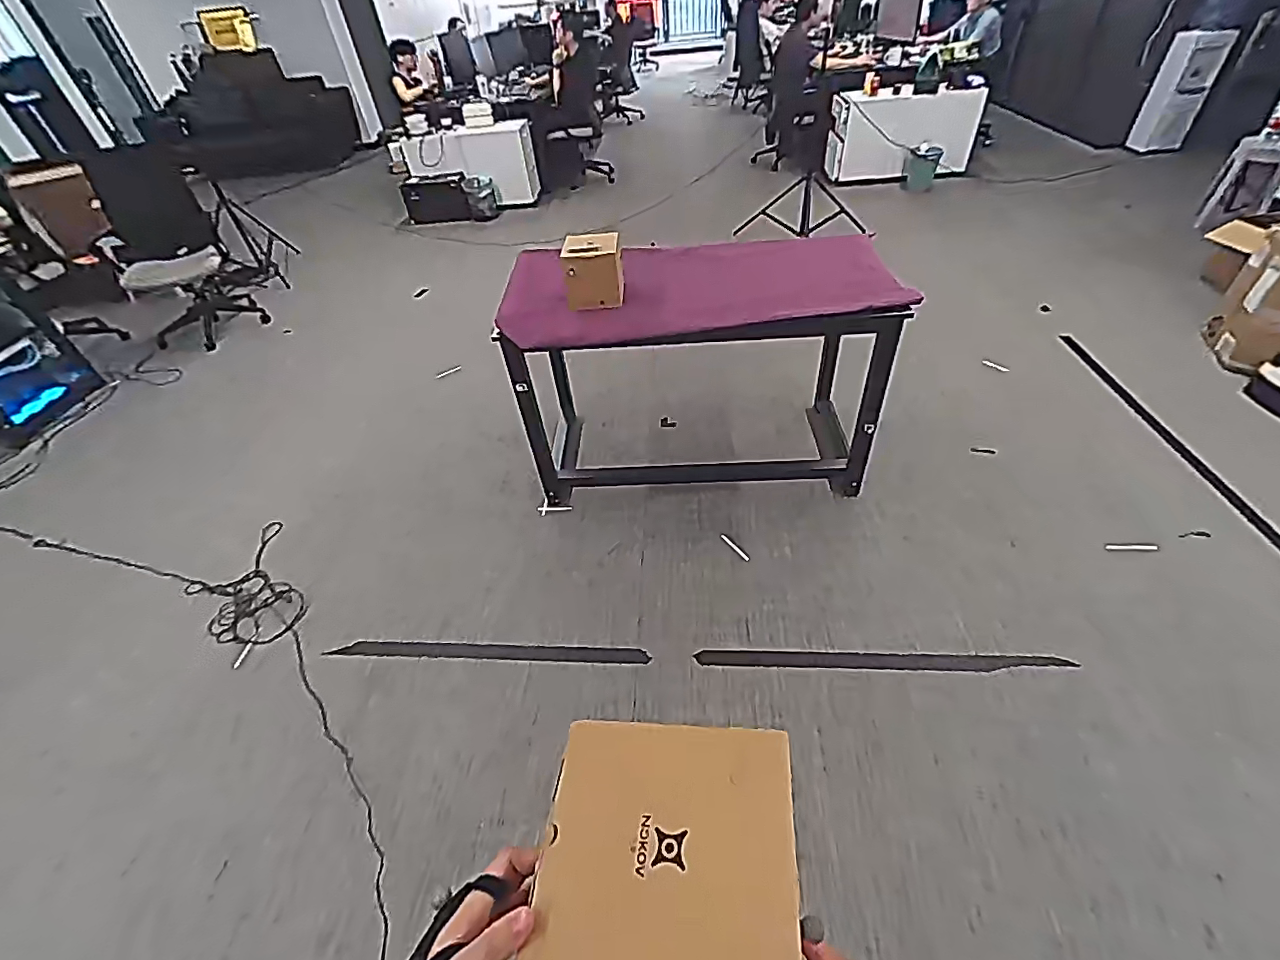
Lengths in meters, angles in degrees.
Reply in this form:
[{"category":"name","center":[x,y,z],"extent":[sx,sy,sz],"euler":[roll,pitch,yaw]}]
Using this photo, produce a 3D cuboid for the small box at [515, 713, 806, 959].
[{"category":"small box","center":[0.033,0.301,0.417],"extent":[0.179,0.176,0.168],"euler":[-4,41,14]}]
